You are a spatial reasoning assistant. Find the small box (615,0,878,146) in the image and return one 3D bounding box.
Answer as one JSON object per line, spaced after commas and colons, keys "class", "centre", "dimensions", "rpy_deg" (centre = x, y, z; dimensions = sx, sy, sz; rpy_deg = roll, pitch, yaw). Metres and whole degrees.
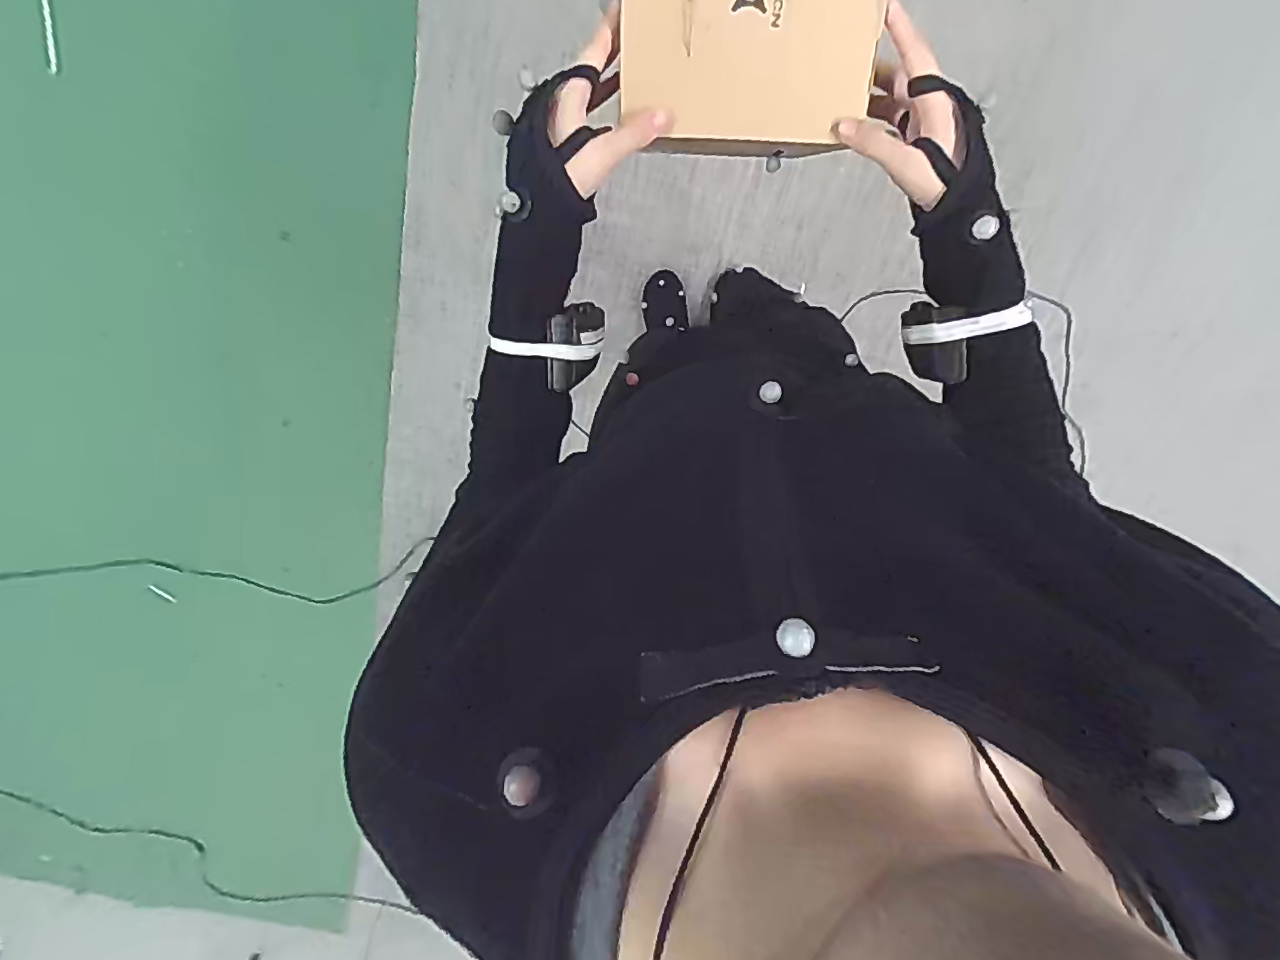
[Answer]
{"class": "small box", "centre": [0.070, -0.367, 0.422], "dimensions": [0.179, 0.176, 0.168], "rpy_deg": [2, 117, -2]}
